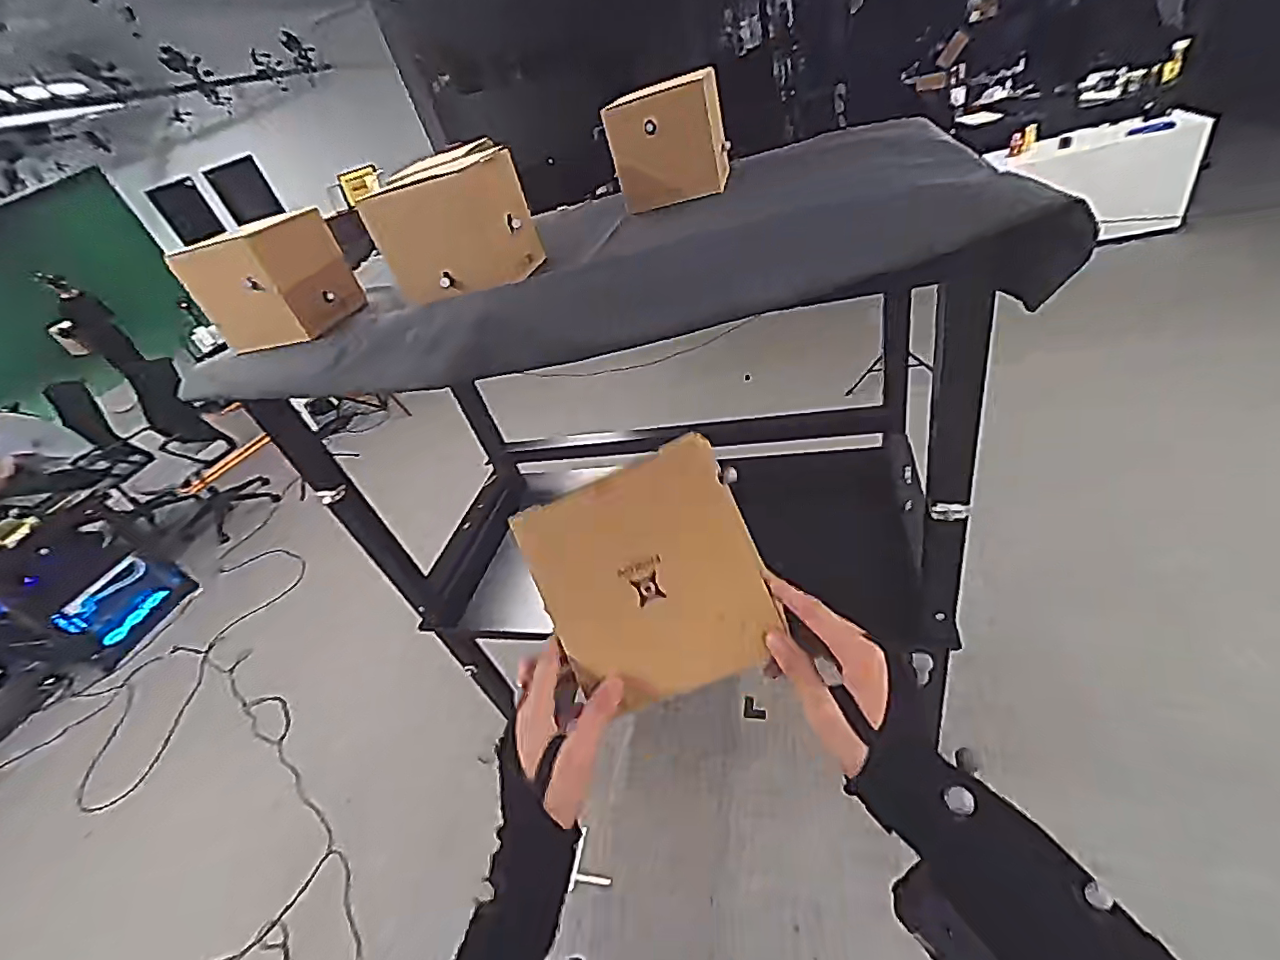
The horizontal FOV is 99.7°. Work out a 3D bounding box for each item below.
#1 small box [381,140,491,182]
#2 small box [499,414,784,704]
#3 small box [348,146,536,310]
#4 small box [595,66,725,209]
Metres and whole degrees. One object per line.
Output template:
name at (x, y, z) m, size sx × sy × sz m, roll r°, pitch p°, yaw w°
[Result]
small box at (-0.369, -0.553, 1.081) m, size 0.168 × 0.176 × 0.179 m, roll -10°, pitch 38°, yaw 14°
small box at (0.012, 0.057, 0.476) m, size 0.168 × 0.179 × 0.176 m, roll -25°, pitch -2°, yaw 10°
small box at (-0.280, -0.375, 0.814) m, size 0.179 × 0.176 × 0.168 m, roll -4°, pitch 38°, yaw 17°
small box at (0.045, -0.601, 0.960) m, size 0.179 × 0.176 × 0.168 m, roll -5°, pitch 40°, yaw 19°
